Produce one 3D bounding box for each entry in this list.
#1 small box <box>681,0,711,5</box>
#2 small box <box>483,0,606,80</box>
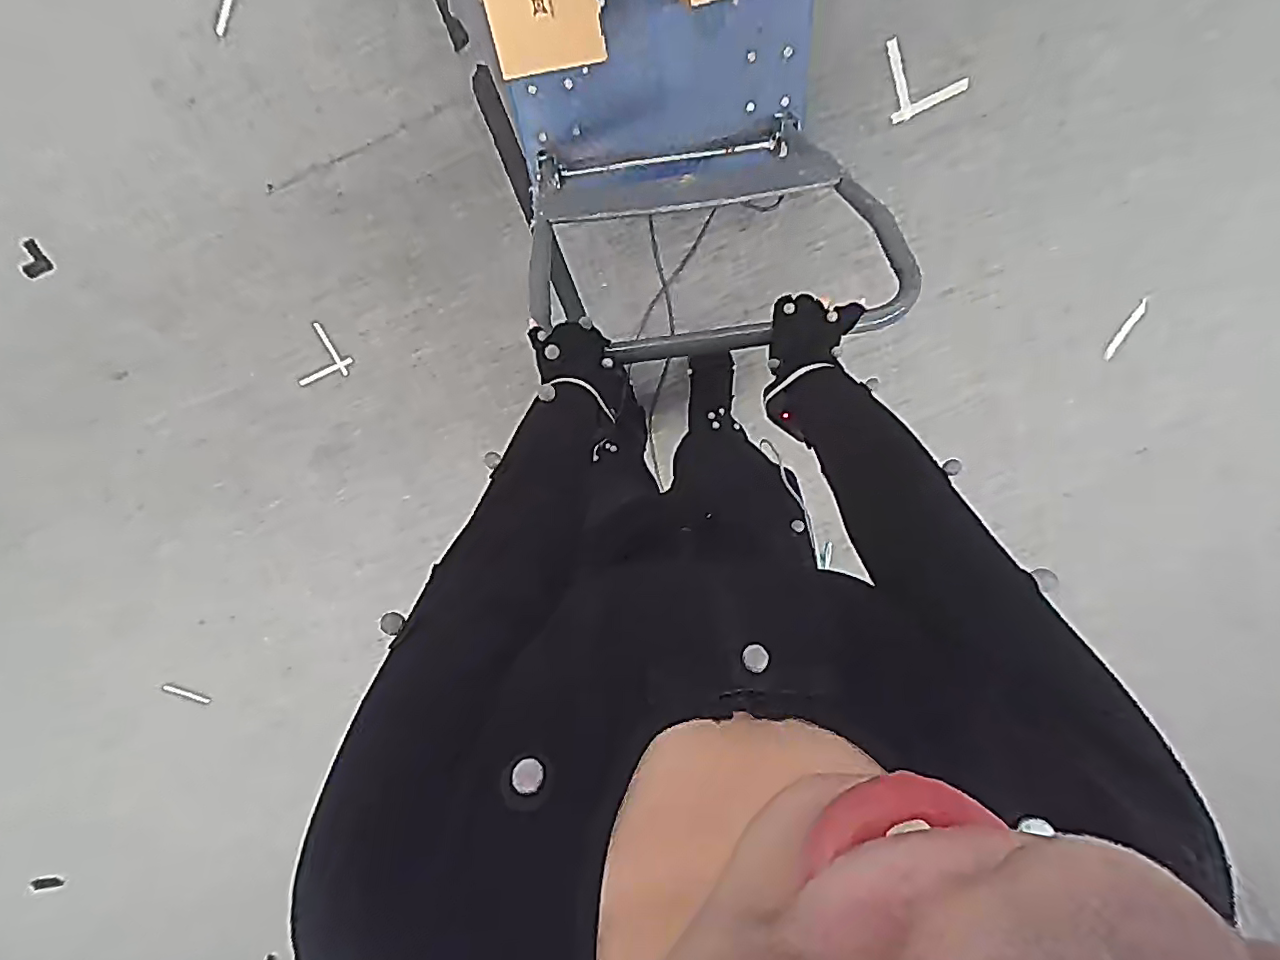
[{"bbox_3d":[0.140,-0.865,0.840,0.179,0.176,0.168,-12,132,6],"label":"small box"},{"bbox_3d":[-0.157,-0.781,0.890,0.179,0.176,0.168,-10,132,2],"label":"small box"}]
